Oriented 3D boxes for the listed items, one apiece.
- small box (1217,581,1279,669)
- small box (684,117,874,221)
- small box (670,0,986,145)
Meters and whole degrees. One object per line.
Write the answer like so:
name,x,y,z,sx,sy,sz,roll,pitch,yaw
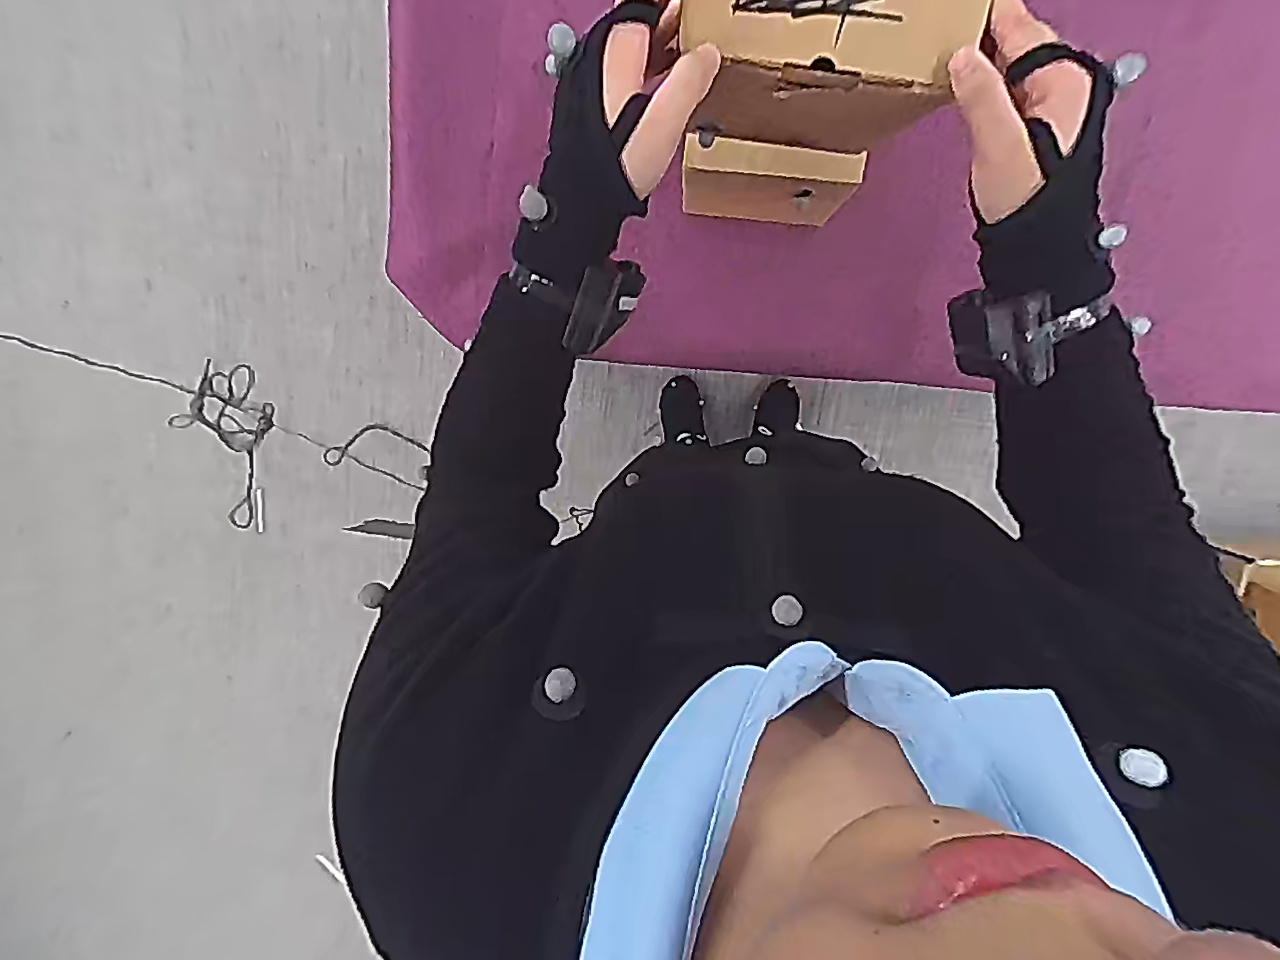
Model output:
small box,1.590,0.362,1.307,0.179,0.176,0.168,12,105,2
small box,0.144,-0.390,0.581,0.179,0.176,0.168,8,102,4
small box,0.111,-0.336,0.344,0.168,0.176,0.179,6,109,-1
